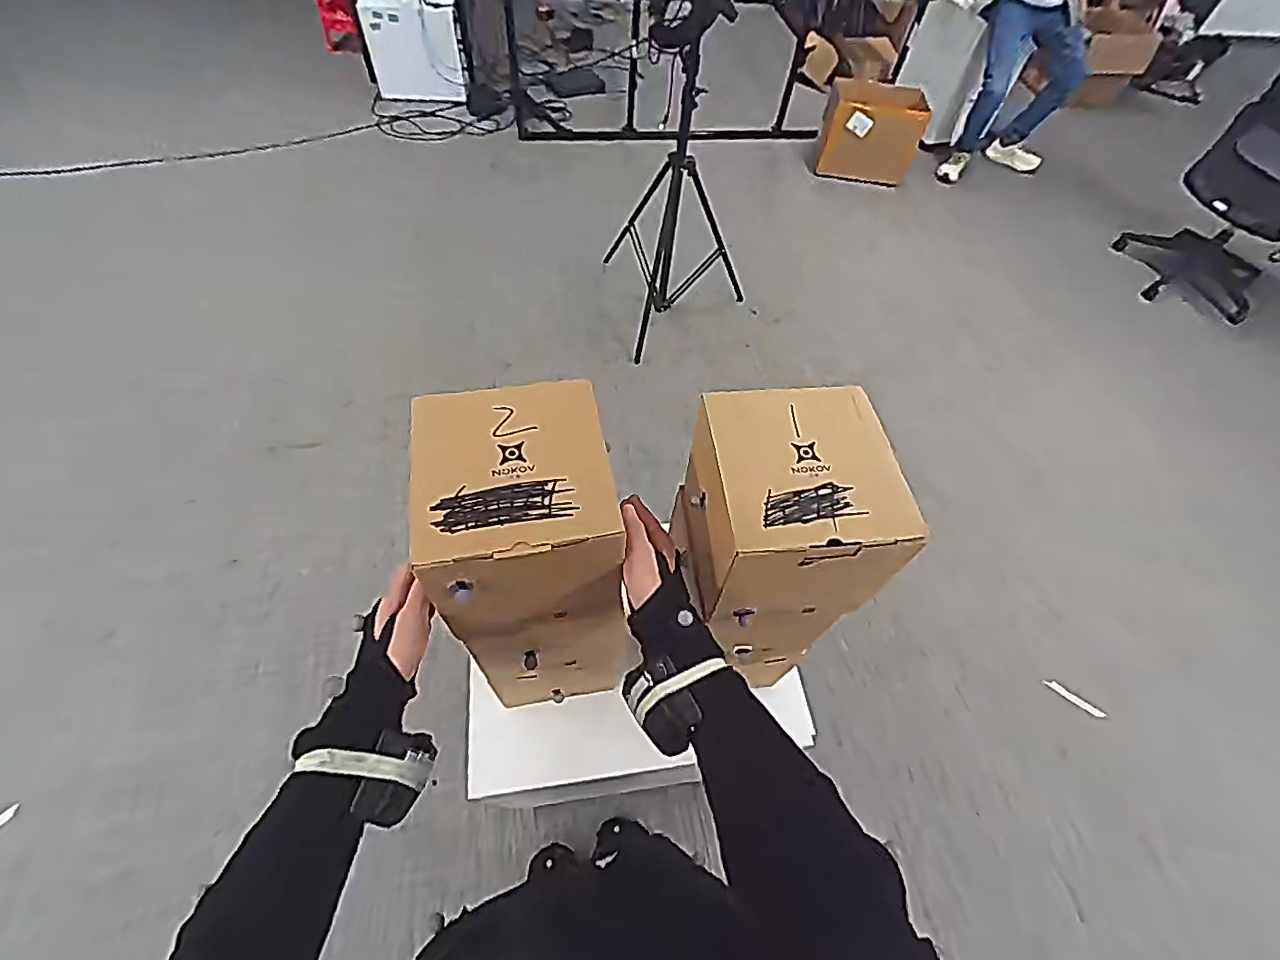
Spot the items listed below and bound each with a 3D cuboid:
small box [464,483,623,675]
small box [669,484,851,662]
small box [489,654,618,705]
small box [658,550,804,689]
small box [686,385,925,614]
[{"bbox_3d":[-0.114,0.127,0.659,0.168,0.176,0.179,-6,57,-9],"label":"small box"},{"bbox_3d":[0.134,0.115,0.689,0.168,0.176,0.179,-5,58,-6],"label":"small box"},{"bbox_3d":[-0.129,0.214,0.796,0.168,0.176,0.179,-7,58,-9],"label":"small box"},{"bbox_3d":[0.124,0.211,0.819,0.168,0.176,0.179,-4,59,-8],"label":"small box"},{"bbox_3d":[0.145,0.027,0.550,0.168,0.176,0.179,-4,56,-5],"label":"small box"}]
